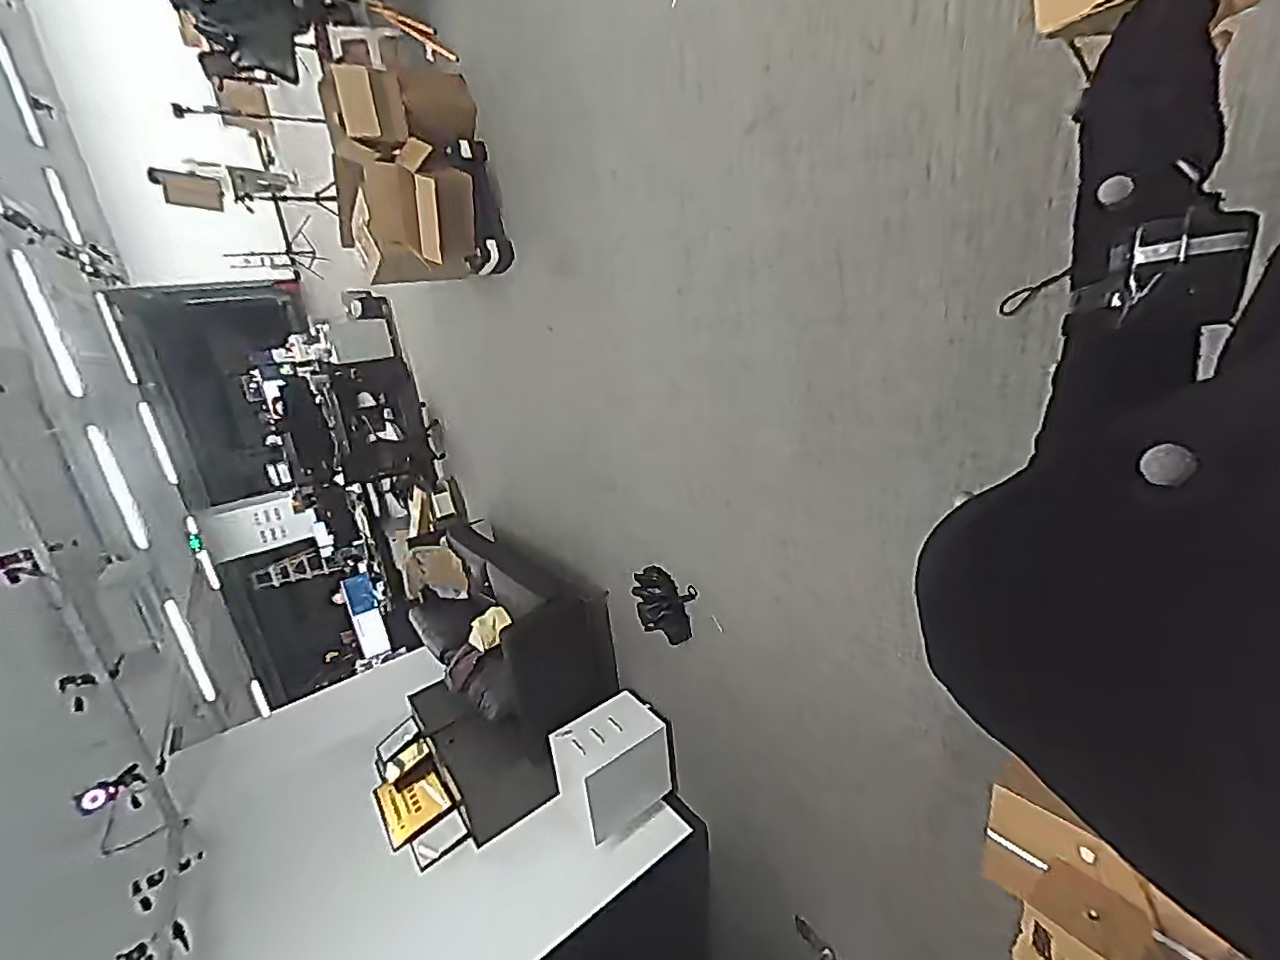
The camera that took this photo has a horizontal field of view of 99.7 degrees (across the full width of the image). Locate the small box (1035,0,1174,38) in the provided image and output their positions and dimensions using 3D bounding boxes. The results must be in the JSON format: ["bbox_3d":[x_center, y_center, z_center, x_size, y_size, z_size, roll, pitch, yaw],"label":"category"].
[{"bbox_3d":[0.360,-0.417,0.328,0.168,0.176,0.179,4,119,55],"label":"small box"}]

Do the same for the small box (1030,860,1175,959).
[{"bbox_3d":[0.950,0.936,1.115,0.179,0.176,0.168,16,114,54],"label":"small box"}]
